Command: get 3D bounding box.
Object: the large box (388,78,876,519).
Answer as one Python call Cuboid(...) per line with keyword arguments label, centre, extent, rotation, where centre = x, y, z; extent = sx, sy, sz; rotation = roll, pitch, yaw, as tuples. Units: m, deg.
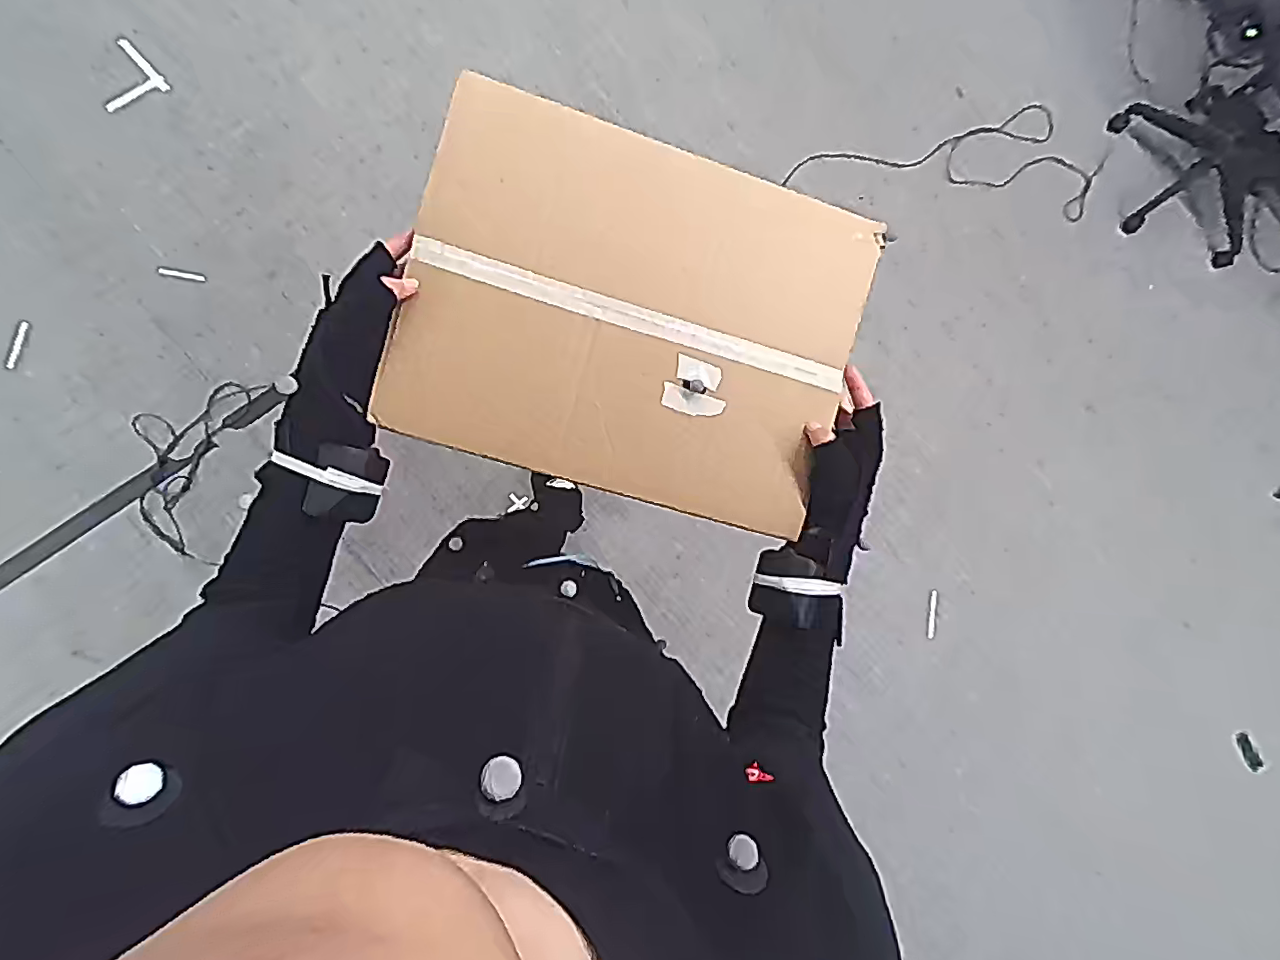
Cuboid(label="large box", centre=(-0.017, -0.165, 0.649), extent=(0.408, 0.320, 0.320), rotation=(16, 92, -8))
